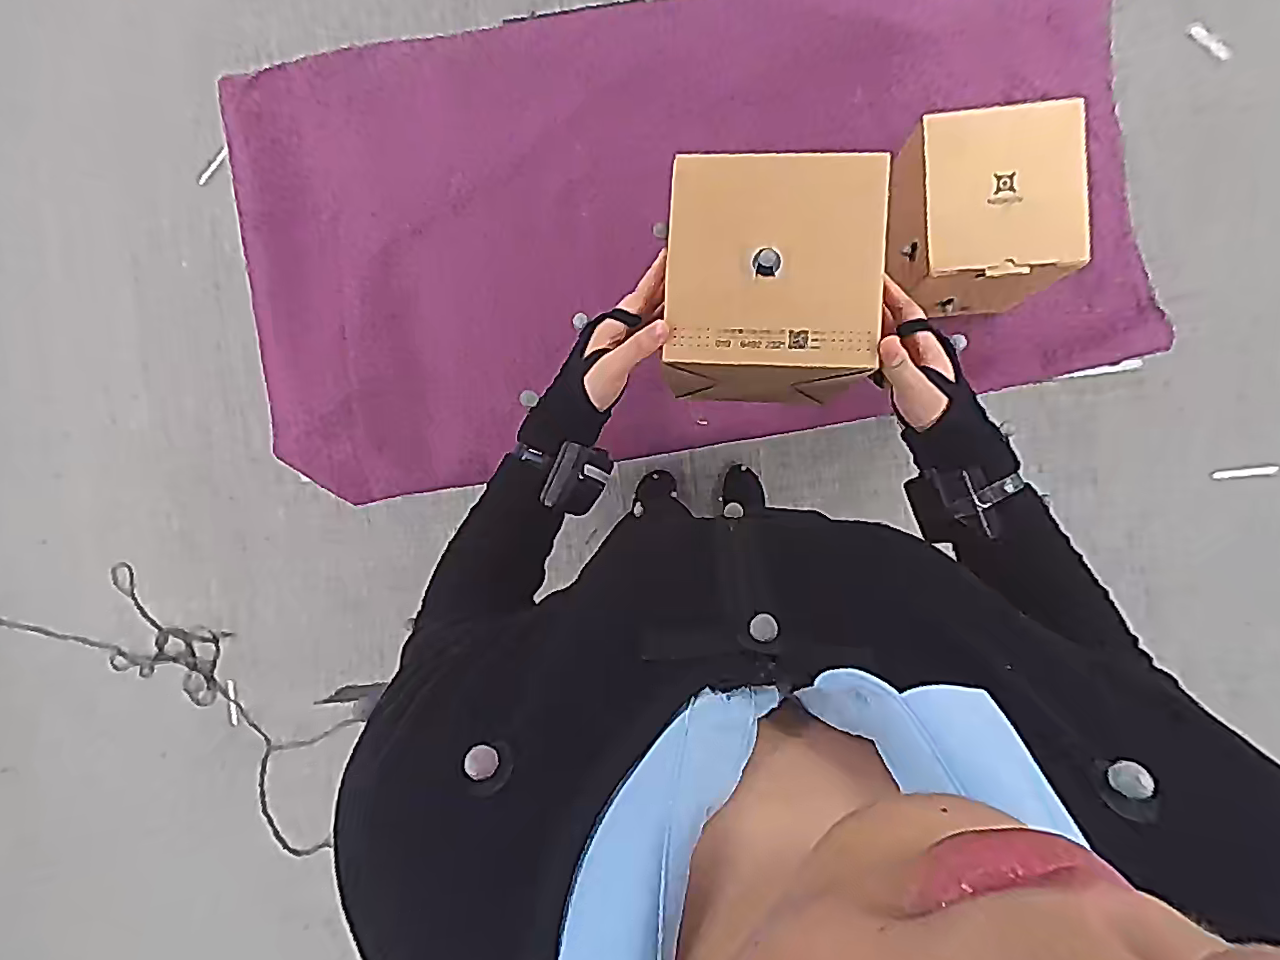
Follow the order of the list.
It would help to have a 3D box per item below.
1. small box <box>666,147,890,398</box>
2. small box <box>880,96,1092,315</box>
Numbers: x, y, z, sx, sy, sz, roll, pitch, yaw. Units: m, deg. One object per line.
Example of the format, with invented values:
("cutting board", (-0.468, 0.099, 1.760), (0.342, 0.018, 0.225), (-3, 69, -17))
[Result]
("small box", (0.115, -0.170, 0.496), (0.168, 0.179, 0.176), (4, 90, 7))
("small box", (0.397, -0.315, 0.654), (0.168, 0.176, 0.179), (-3, 90, 6))
